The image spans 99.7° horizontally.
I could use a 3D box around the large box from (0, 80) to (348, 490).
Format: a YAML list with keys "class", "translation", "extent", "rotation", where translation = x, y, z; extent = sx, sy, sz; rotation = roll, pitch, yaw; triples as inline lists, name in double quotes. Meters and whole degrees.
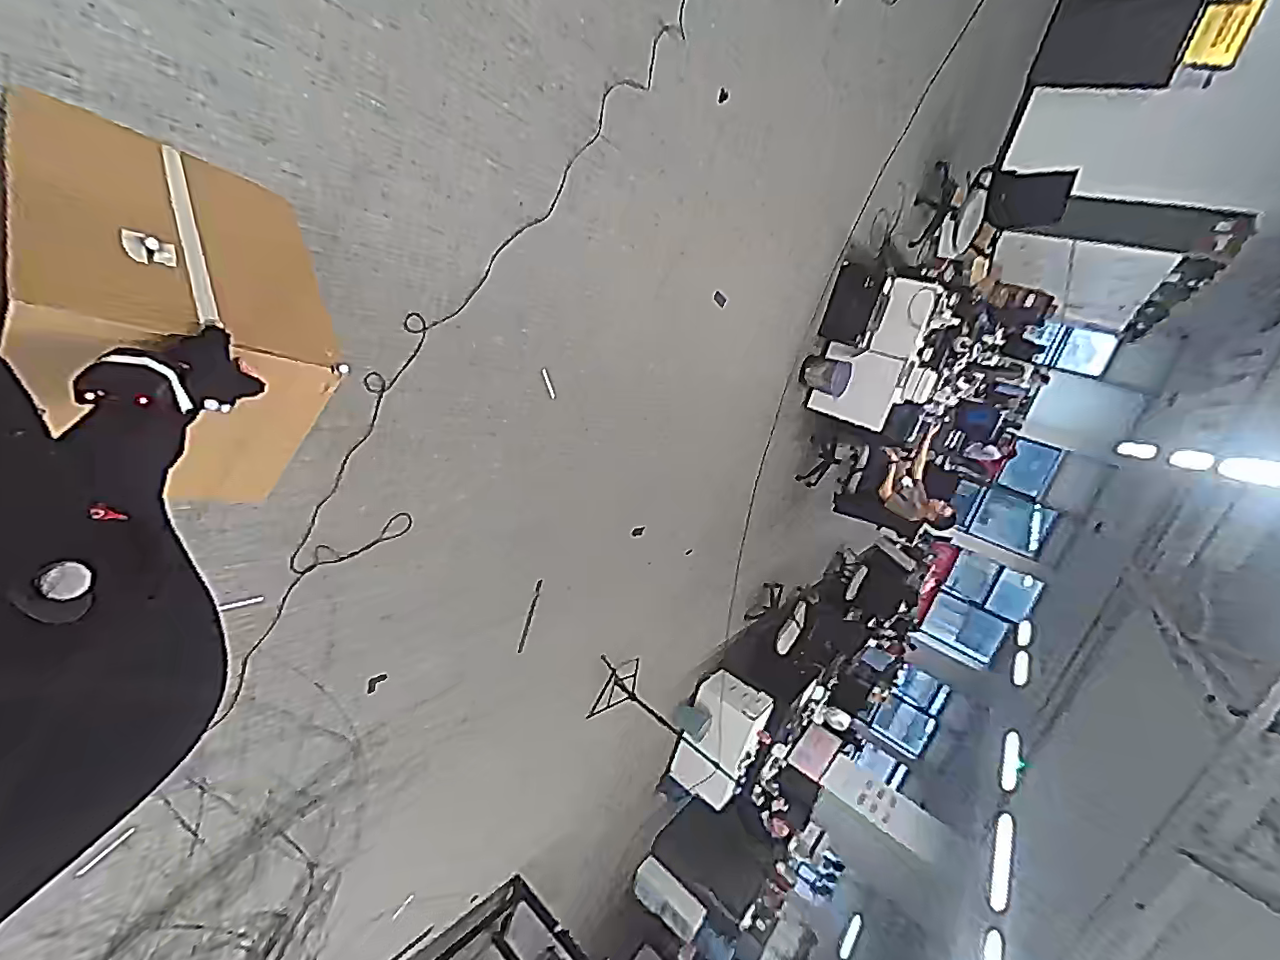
- class: "large box"
  translation: [-0.691, -0.234, 0.771]
  extent: [0.320, 0.408, 0.320]
  rotation: [-42, 156, 28]
